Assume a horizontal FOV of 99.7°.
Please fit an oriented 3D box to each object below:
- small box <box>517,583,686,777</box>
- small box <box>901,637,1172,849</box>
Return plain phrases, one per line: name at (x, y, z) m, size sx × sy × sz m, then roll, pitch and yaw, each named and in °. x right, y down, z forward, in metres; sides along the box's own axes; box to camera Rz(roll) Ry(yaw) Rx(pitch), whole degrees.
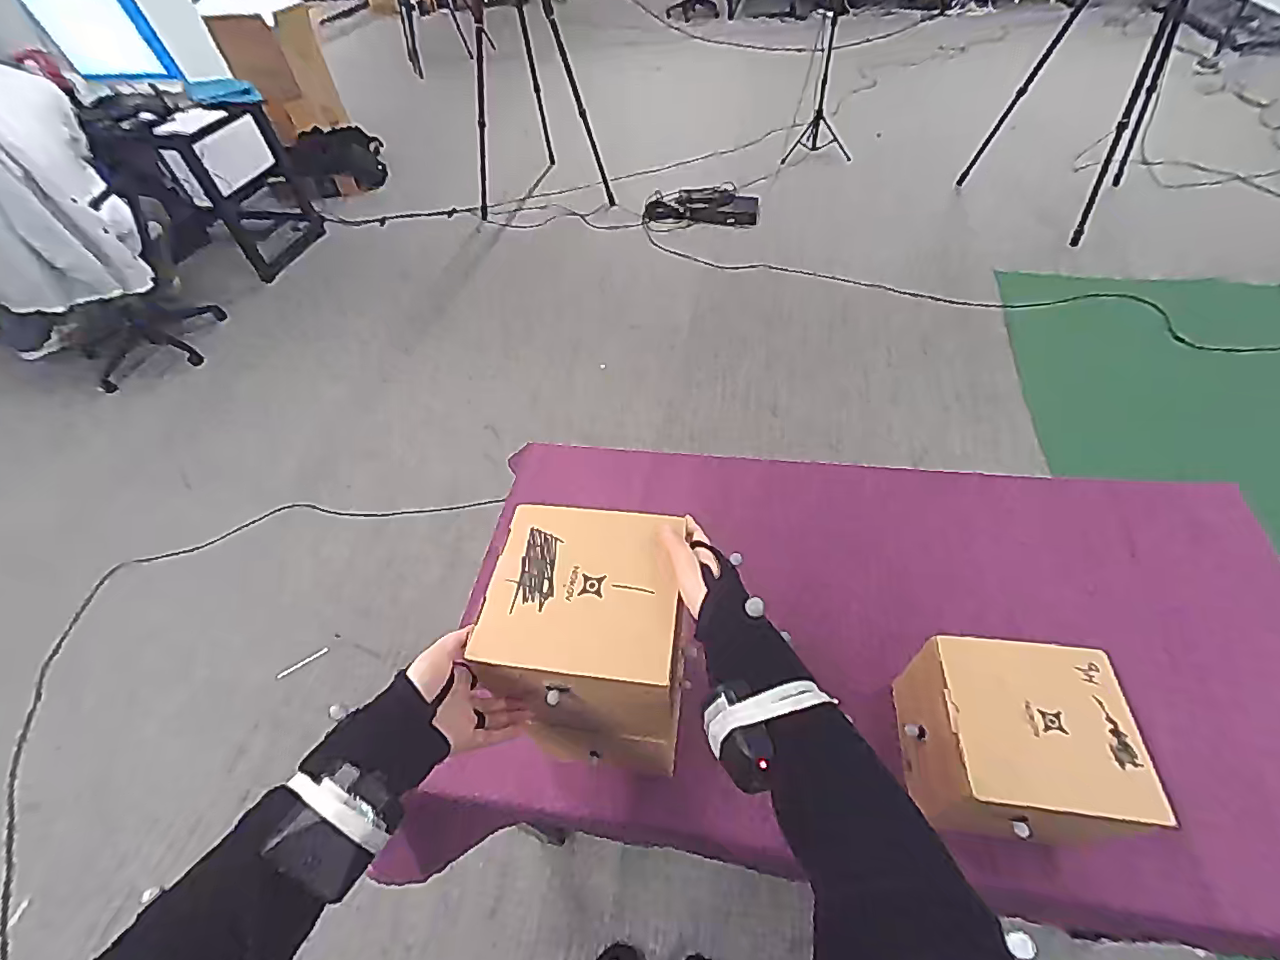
small box at (-0.033, 0.253, 0.676) m, size 0.168 × 0.176 × 0.179 m, roll 5°, pitch 50°, yaw 9°
small box at (0.406, 0.294, 0.601) m, size 0.179 × 0.176 × 0.168 m, roll 3°, pitch 51°, yaw 9°
